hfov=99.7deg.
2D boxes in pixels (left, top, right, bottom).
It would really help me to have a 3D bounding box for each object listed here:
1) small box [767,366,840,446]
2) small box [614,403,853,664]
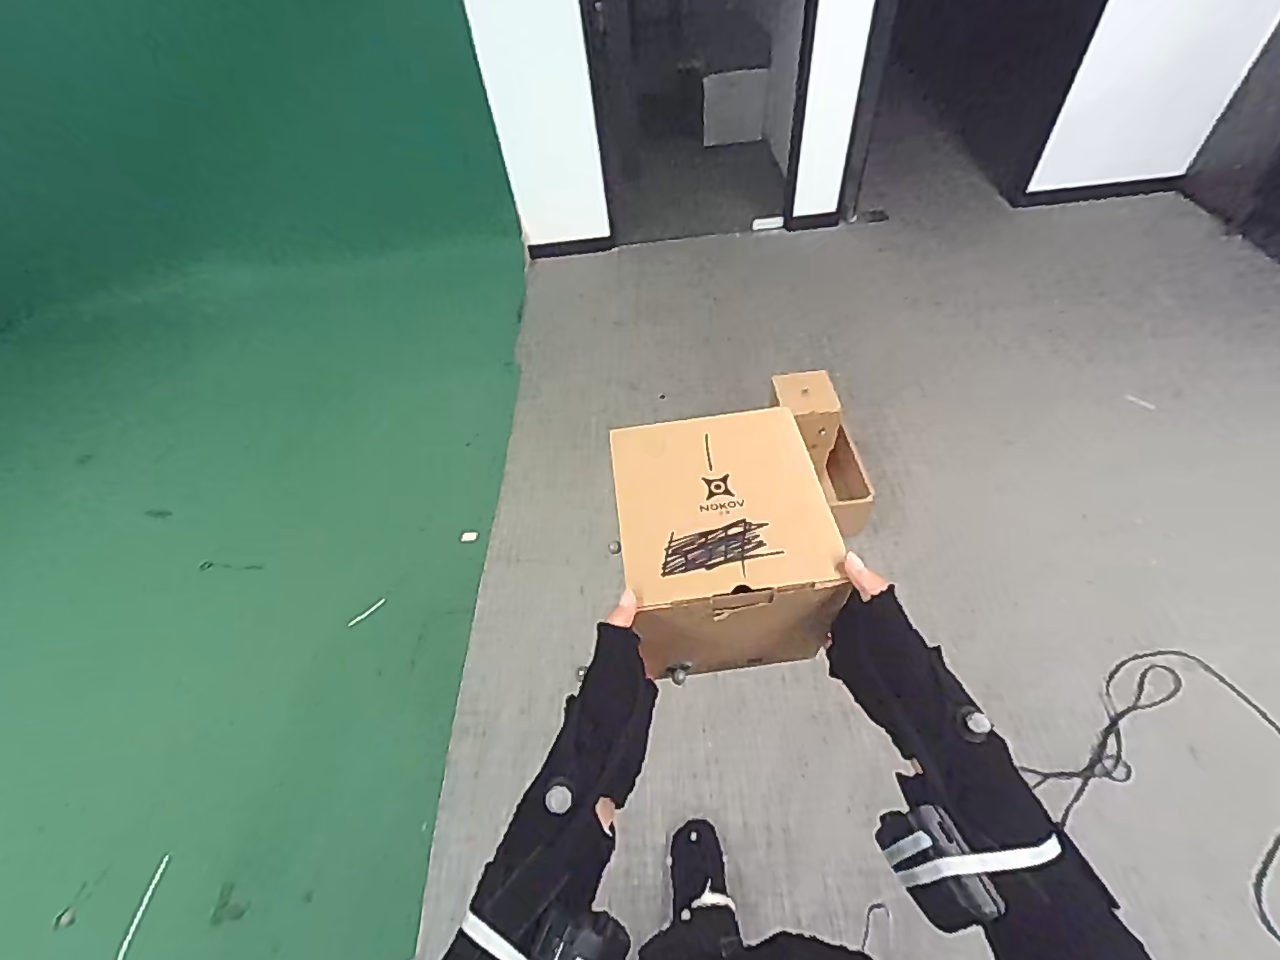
[{"bbox_3d":[0.478,-0.210,1.607,0.168,0.176,0.179,-6,50,3],"label":"small box"},{"bbox_3d":[0.071,0.057,0.496,0.168,0.176,0.179,-7,52,-1],"label":"small box"}]
